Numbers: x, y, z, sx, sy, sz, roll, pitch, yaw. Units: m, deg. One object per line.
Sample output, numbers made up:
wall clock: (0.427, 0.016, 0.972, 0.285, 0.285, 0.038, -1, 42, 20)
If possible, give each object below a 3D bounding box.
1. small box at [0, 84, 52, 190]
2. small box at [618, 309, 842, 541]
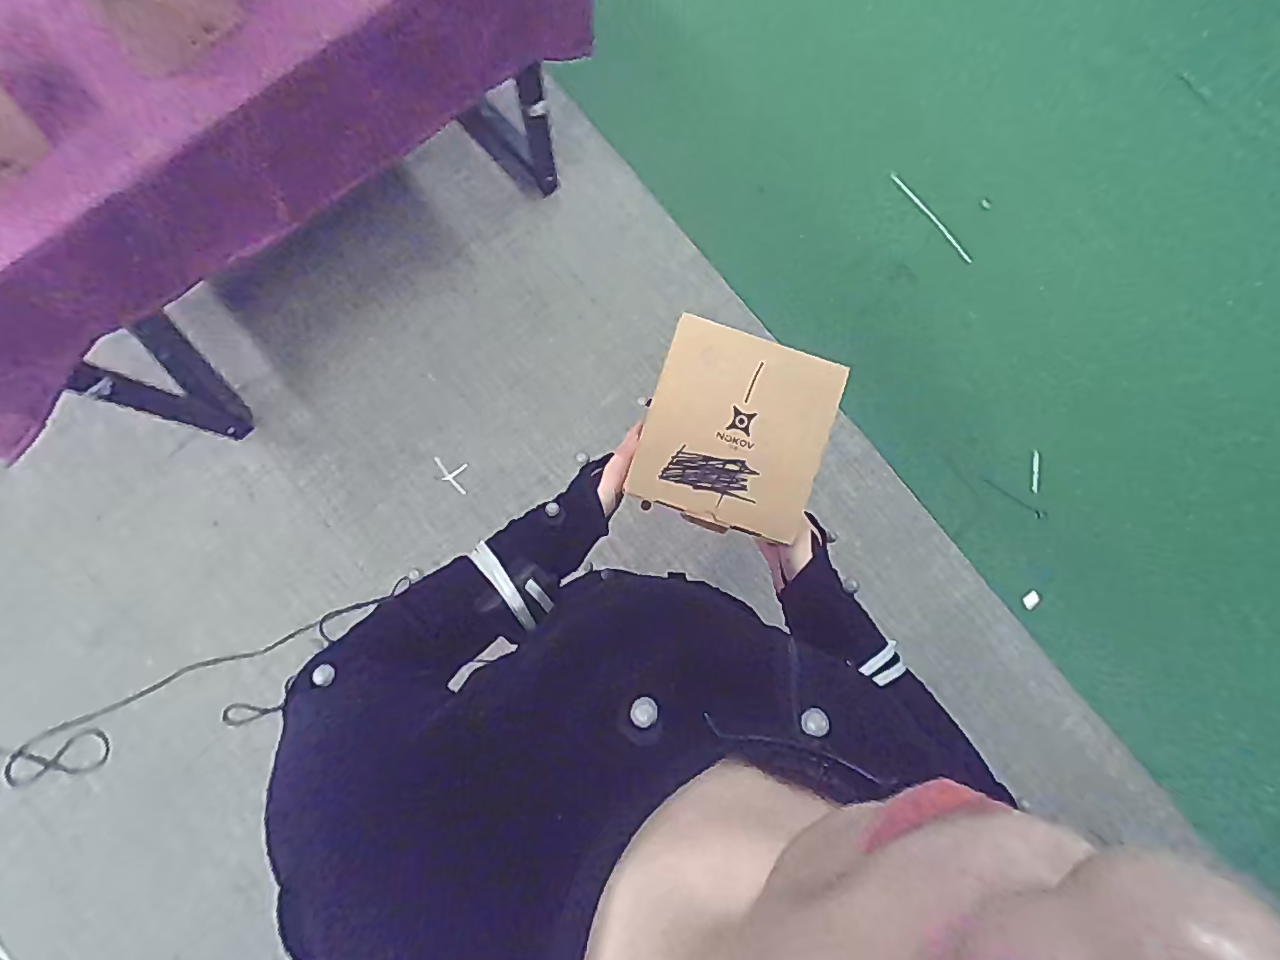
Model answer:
small box: (-0.991, -0.516, 0.731, 0.168, 0.176, 0.179, -41, 86, -7)
small box: (0.081, -0.049, 0.570, 0.168, 0.176, 0.179, 17, 88, -2)
